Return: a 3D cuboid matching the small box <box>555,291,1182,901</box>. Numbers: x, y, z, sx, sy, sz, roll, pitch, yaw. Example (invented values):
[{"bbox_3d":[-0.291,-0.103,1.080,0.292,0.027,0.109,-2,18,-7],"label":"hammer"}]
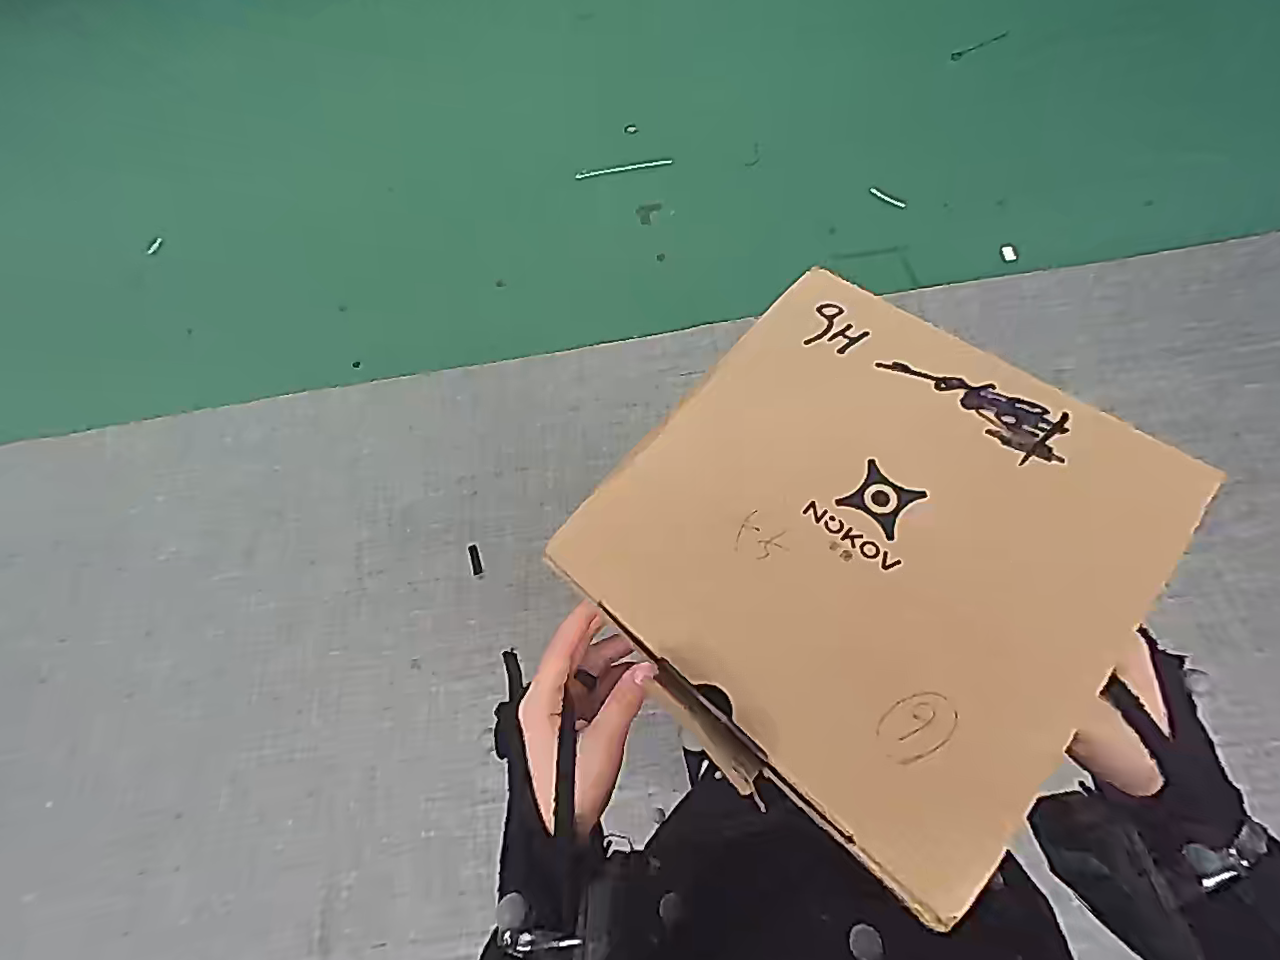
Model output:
[{"bbox_3d":[0.091,0.051,0.277,0.168,0.176,0.179,38,76,21],"label":"small box"}]
